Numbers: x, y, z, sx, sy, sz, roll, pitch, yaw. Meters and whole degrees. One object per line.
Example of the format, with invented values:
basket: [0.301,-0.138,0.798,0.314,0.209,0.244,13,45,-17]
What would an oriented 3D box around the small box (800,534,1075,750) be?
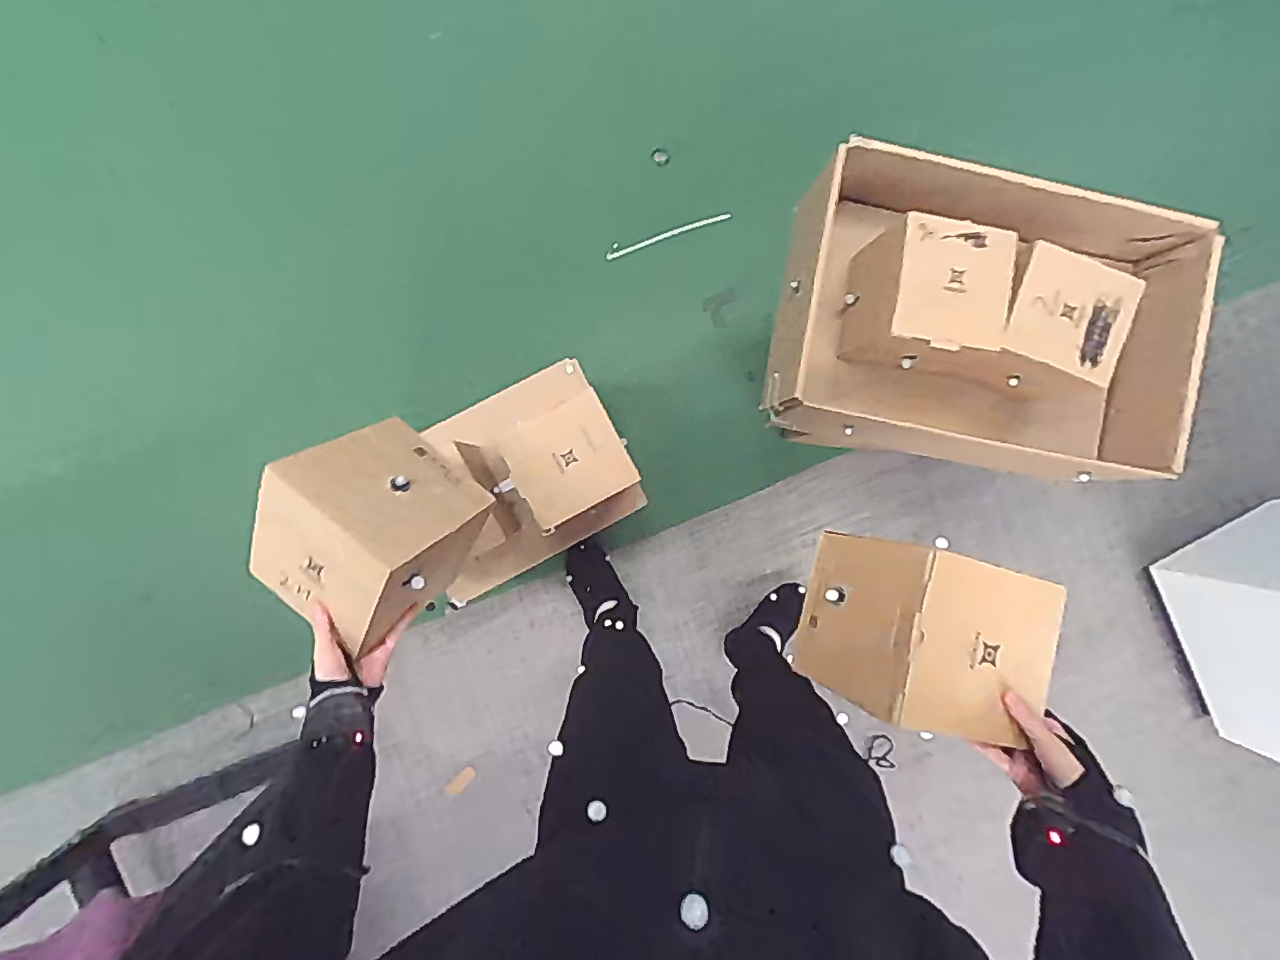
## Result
small box: [0.306,0.160,0.581,0.179,0.176,0.168,16,85,-15]

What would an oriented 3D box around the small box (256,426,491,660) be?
small box: [-0.301,0.063,0.630,0.168,0.176,0.179,38,124,6]

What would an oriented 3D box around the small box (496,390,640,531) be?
small box: [-0.115,-0.031,0.911,0.179,0.176,0.168,-28,94,-4]
